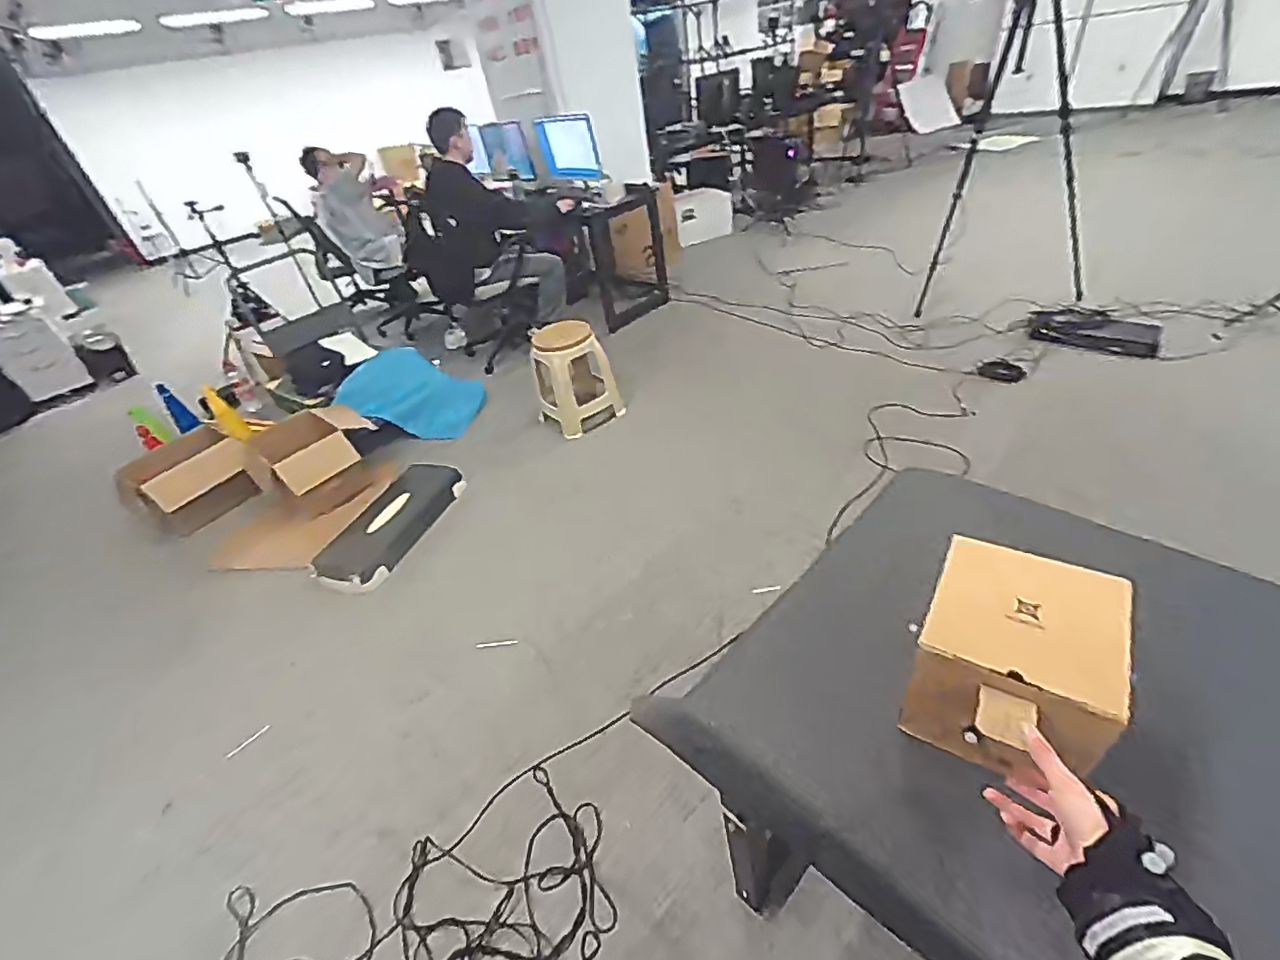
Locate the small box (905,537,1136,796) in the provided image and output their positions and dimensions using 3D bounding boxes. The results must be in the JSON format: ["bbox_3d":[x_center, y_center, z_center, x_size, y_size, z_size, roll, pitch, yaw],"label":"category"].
[{"bbox_3d":[0.409,0.199,0.597,0.168,0.176,0.179,17,46,31],"label":"small box"}]
